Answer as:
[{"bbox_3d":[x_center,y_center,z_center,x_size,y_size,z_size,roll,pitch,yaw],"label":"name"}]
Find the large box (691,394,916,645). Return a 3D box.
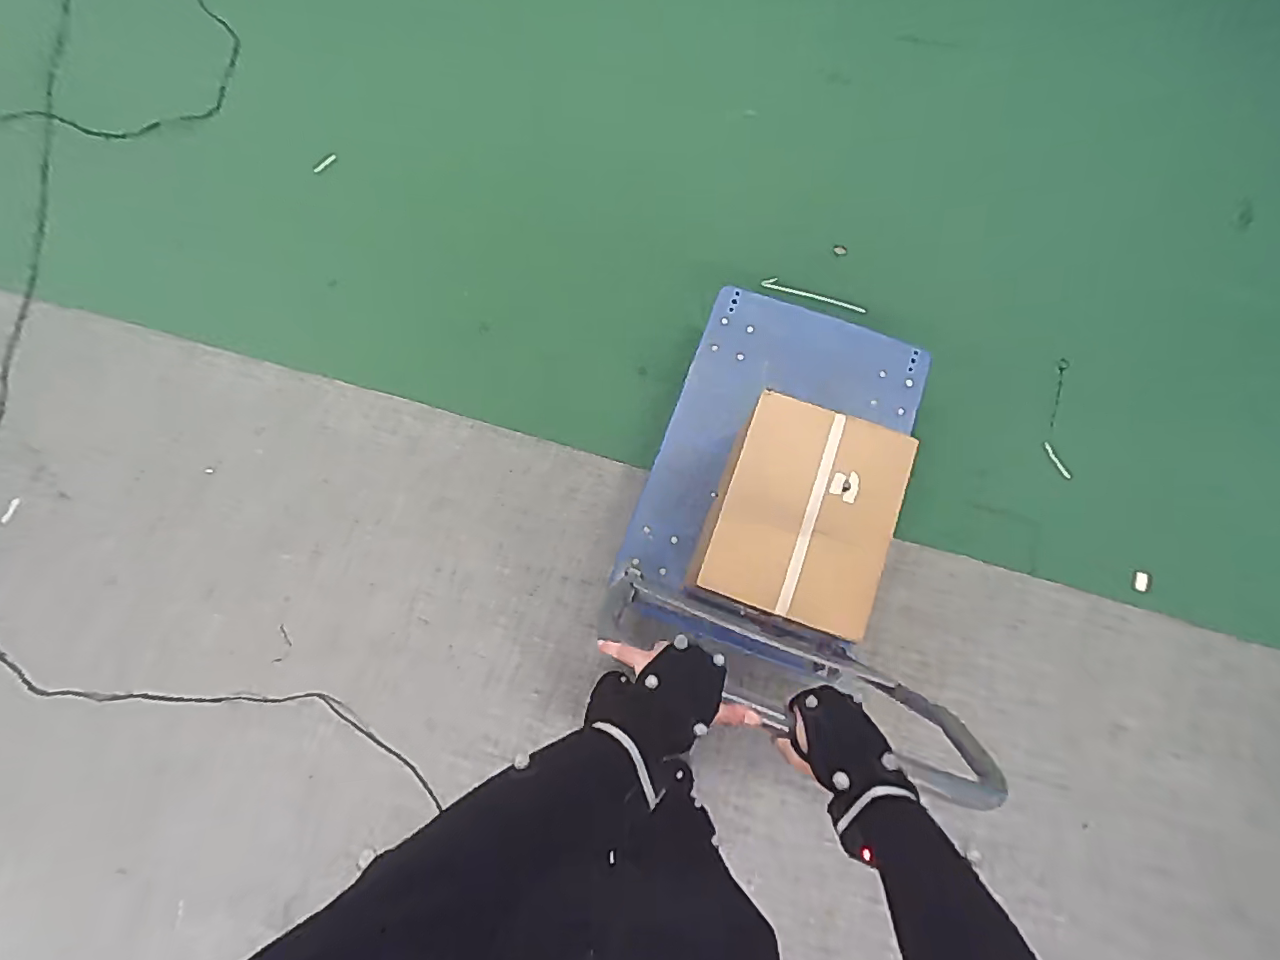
[{"bbox_3d":[0.319,0.095,1.142,0.320,0.320,0.408,20,79,4],"label":"large box"}]
